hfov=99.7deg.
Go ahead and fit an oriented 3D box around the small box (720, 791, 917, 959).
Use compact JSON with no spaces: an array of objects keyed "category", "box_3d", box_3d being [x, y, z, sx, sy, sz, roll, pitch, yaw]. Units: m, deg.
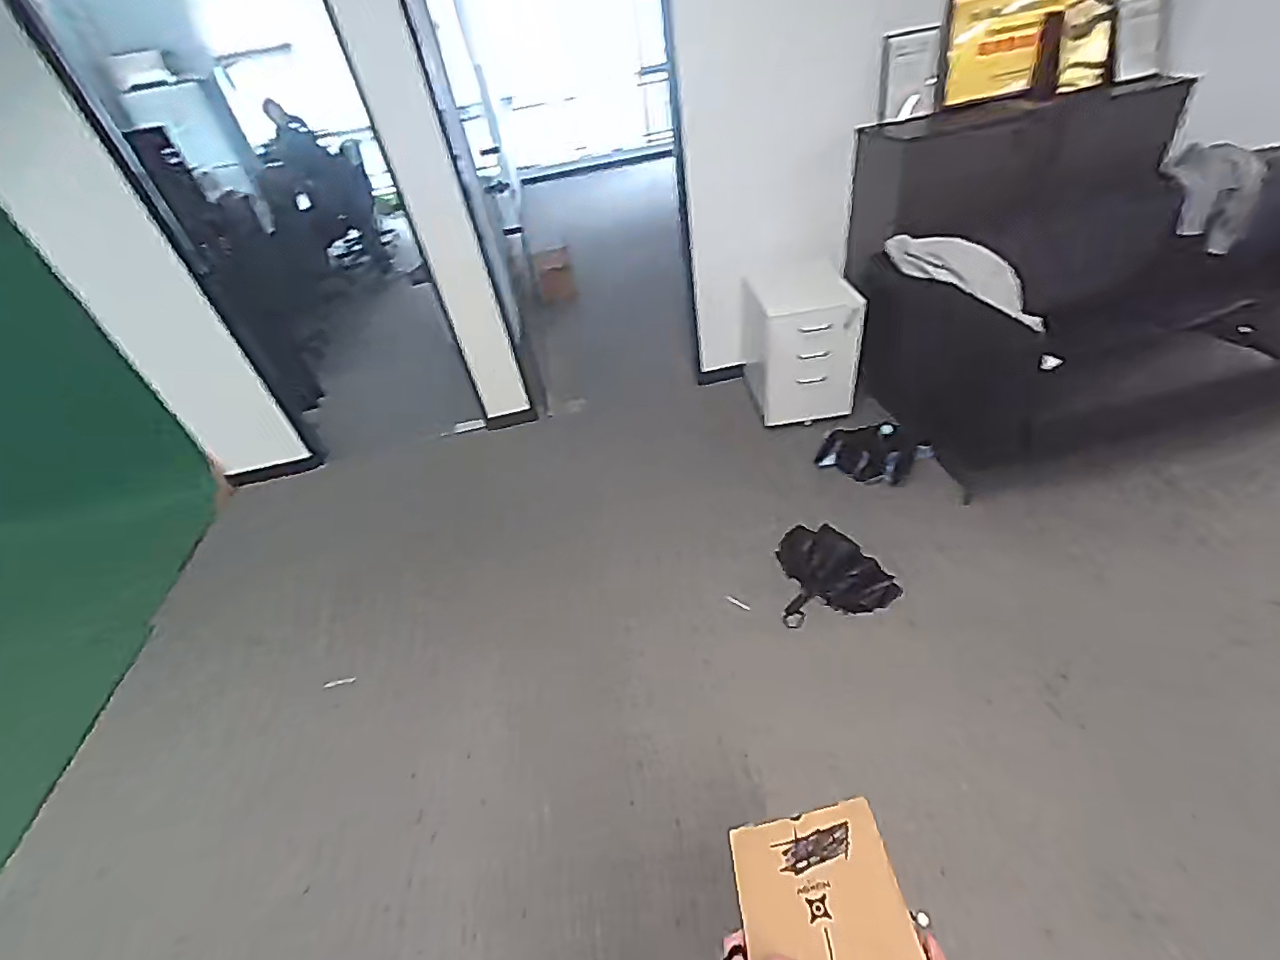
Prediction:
[{"category":"small box","box_3d":[0.204,0.497,0.607,0.168,0.176,0.179,-23,27,11]}]
